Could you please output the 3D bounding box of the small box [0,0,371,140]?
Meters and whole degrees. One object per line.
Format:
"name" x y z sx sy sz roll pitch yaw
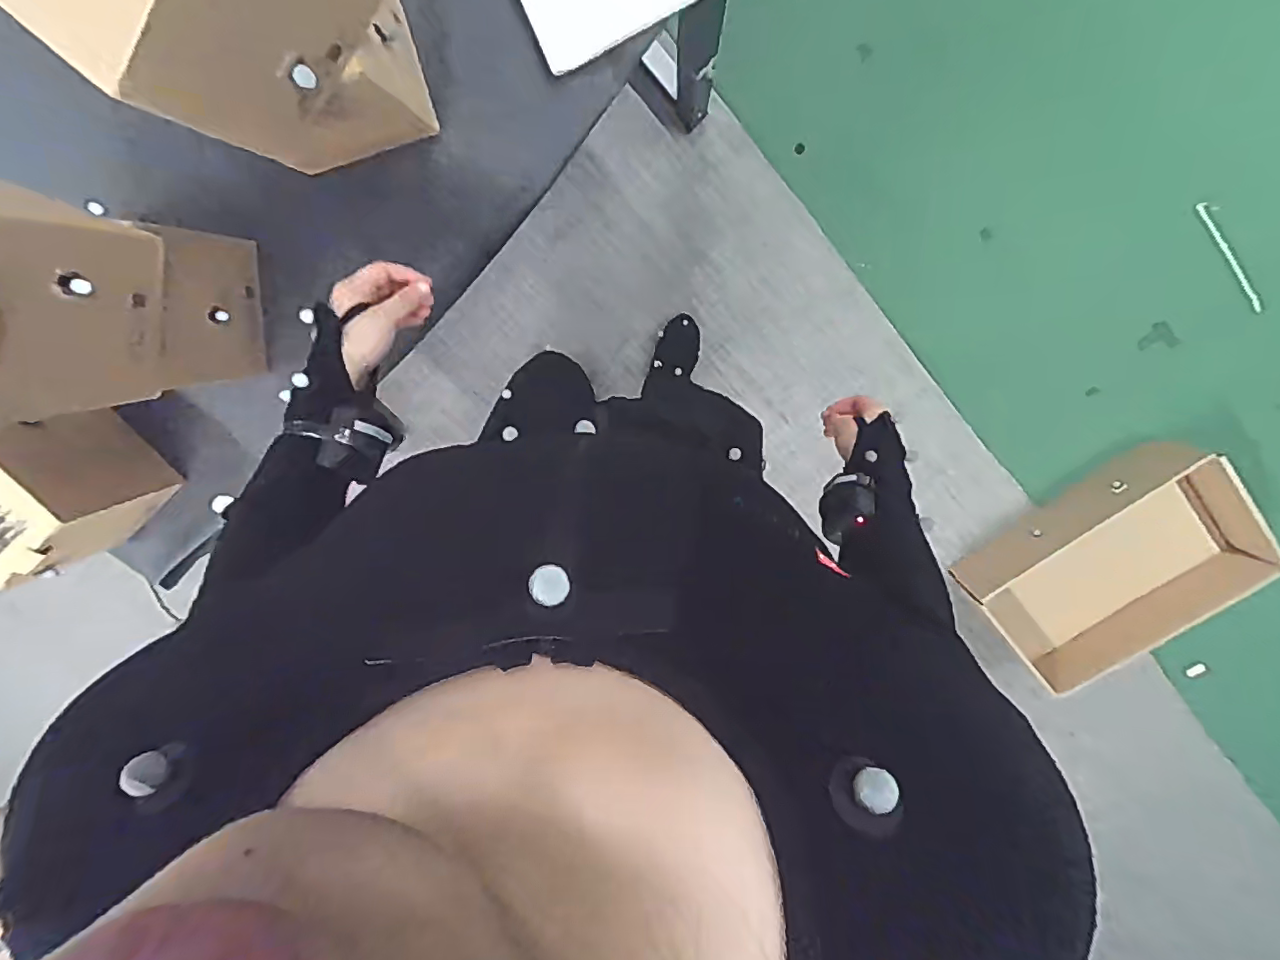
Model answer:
"small box" -0.334 -0.378 0.371 0.179 0.176 0.168 41 107 -11

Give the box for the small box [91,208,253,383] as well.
"small box" -0.578 -0.214 0.614 0.179 0.176 0.168 7 108 0

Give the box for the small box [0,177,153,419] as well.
"small box" -0.568 -0.166 0.458 0.179 0.176 0.168 19 108 -3

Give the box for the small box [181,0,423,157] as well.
"small box" -0.337 -0.441 0.524 0.179 0.176 0.168 -12 108 8
